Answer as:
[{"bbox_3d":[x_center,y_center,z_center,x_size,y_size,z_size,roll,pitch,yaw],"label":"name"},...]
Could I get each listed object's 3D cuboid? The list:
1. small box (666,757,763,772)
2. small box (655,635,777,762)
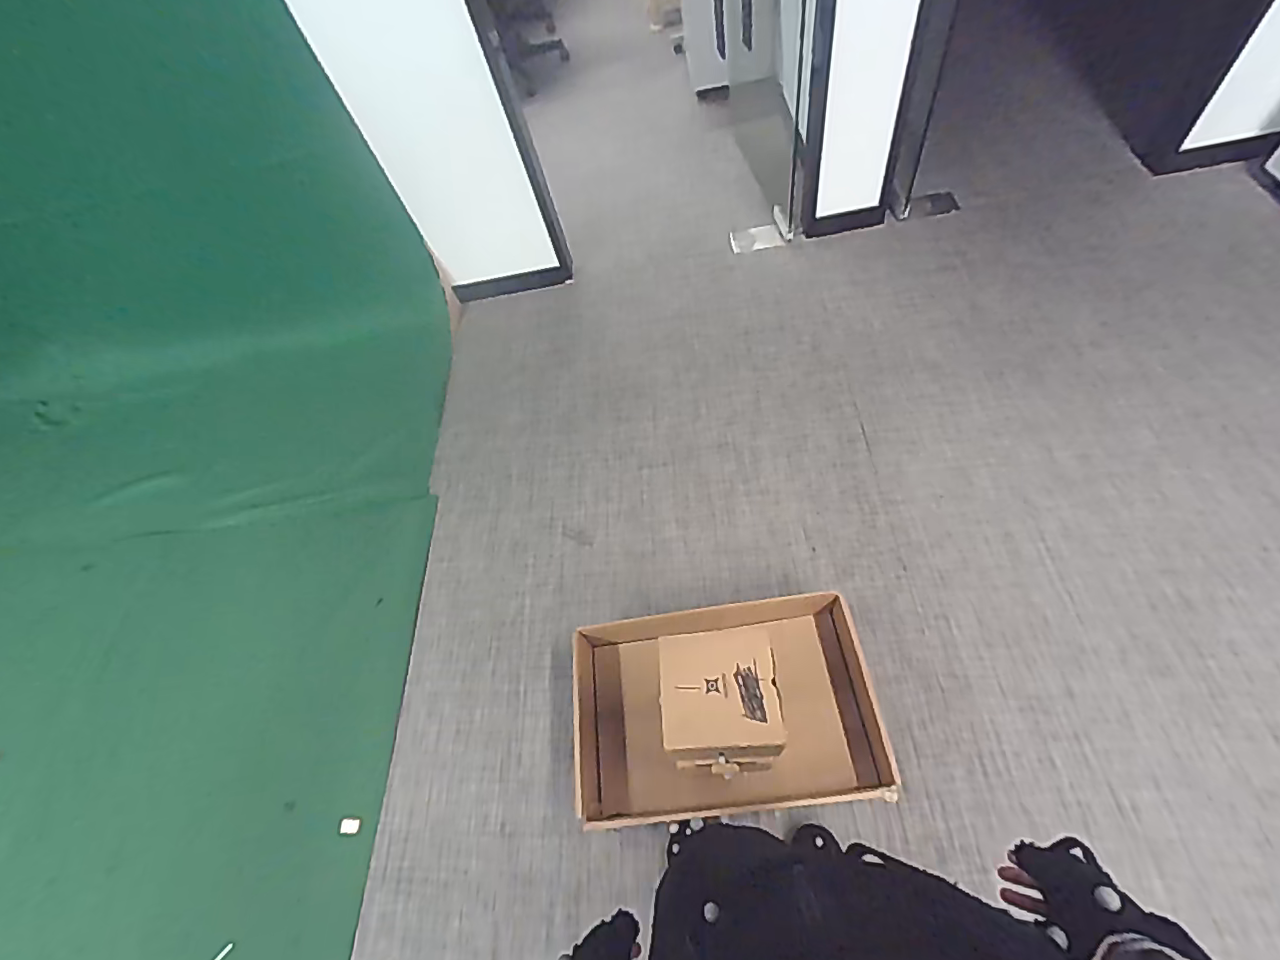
[{"bbox_3d":[0.136,0.444,1.008,0.168,0.176,0.179,-6,58,7],"label":"small box"},{"bbox_3d":[0.121,0.361,0.886,0.179,0.176,0.168,-6,56,7],"label":"small box"}]
